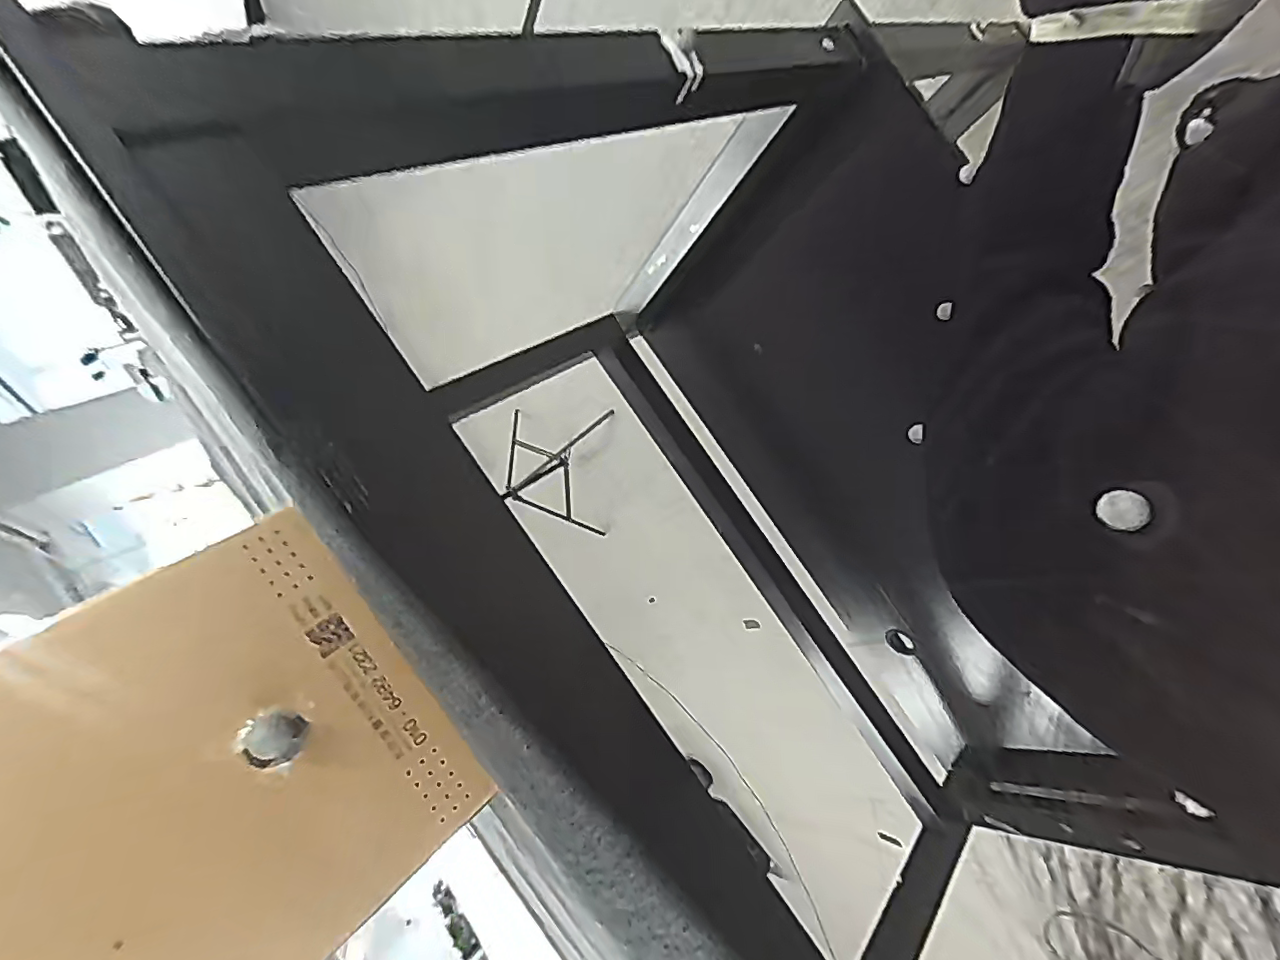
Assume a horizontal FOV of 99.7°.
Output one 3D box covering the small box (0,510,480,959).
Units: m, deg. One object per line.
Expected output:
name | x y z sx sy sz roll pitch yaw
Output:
small box | -0.206 0.140 0.280 0.168 0.176 0.179 55 147 -1
